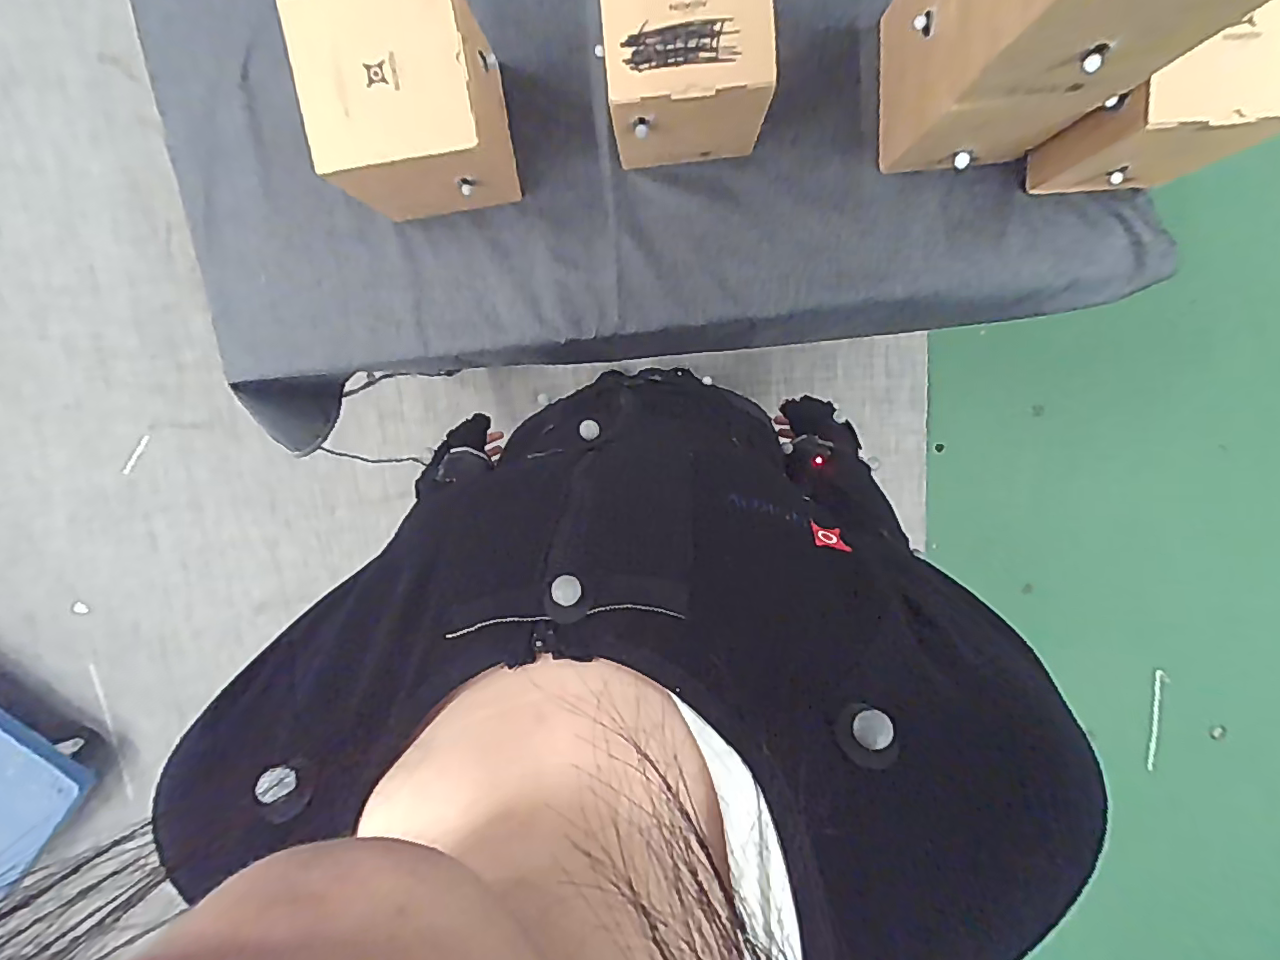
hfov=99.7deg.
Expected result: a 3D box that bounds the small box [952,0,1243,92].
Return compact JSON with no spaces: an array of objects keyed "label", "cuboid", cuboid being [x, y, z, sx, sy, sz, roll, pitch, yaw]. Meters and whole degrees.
[{"label":"small box","cuboid":[0.370,-0.435,0.421,0.168,0.176,0.179,-2,100,2]}]
